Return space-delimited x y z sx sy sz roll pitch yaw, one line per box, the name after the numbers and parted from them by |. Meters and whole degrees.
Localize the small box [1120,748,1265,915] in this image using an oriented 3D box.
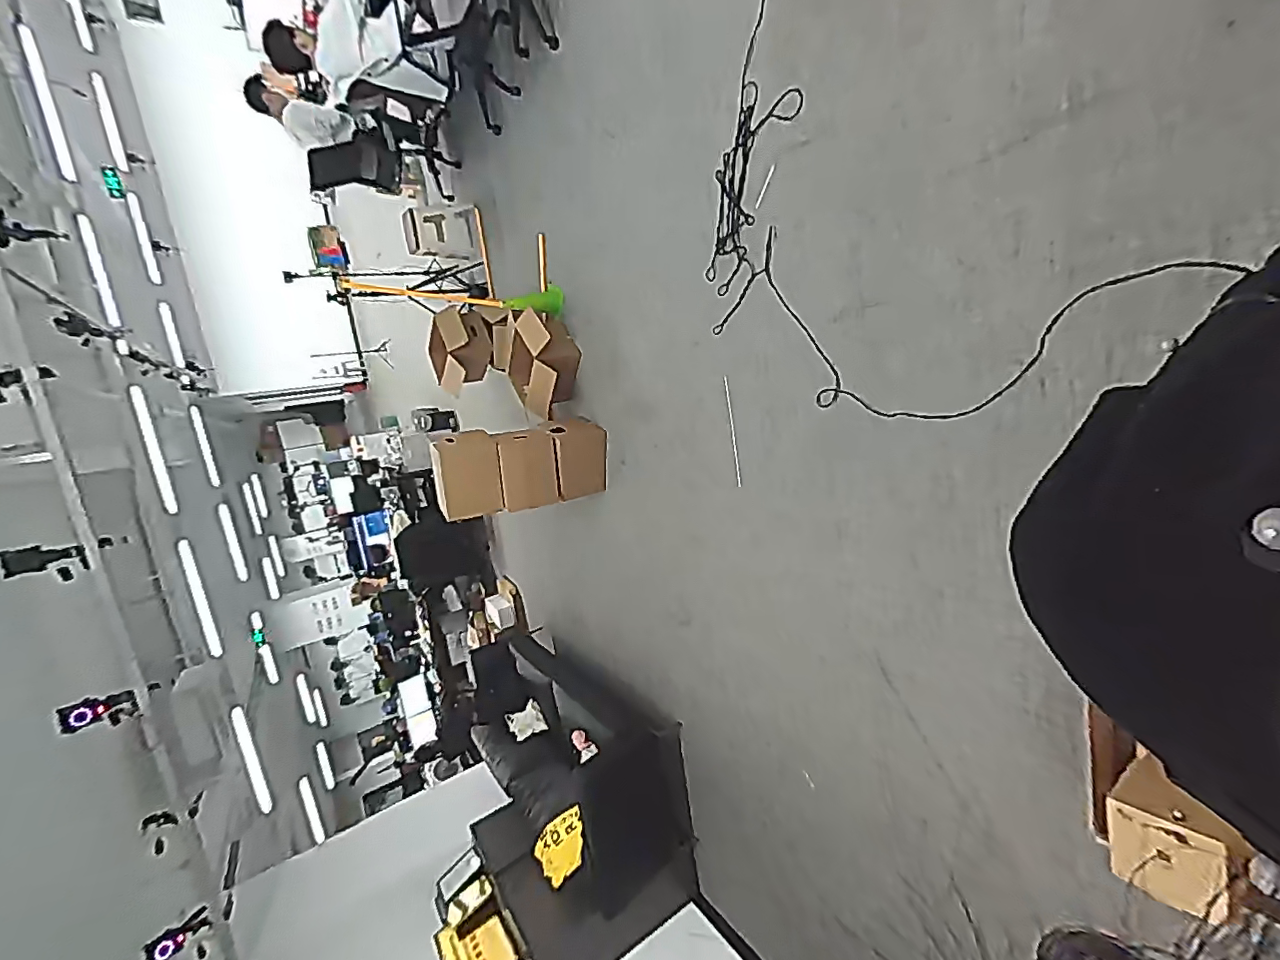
1.068 0.664 1.046 0.168 0.176 0.179 2 105 58 | small box
